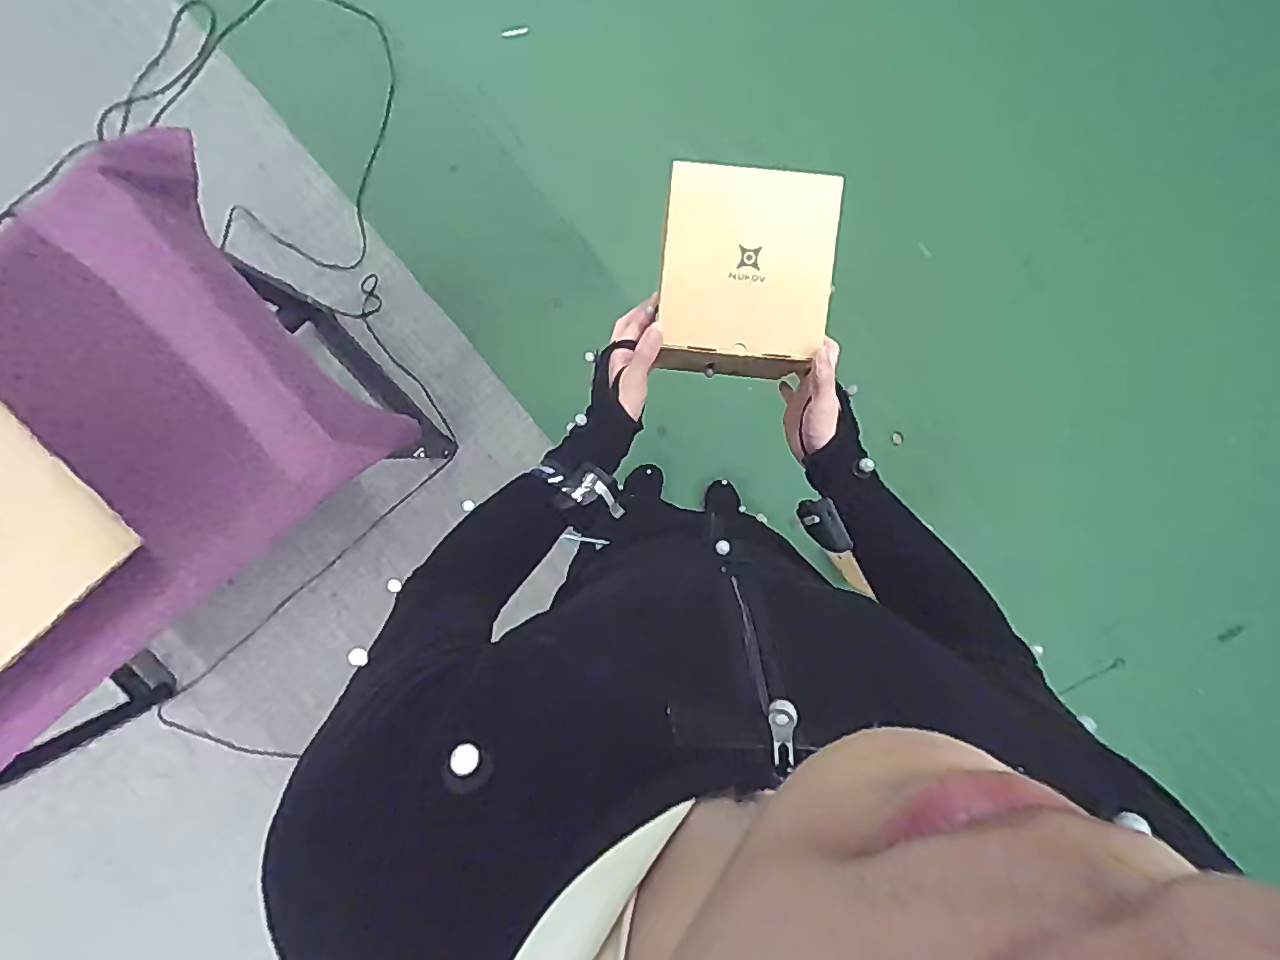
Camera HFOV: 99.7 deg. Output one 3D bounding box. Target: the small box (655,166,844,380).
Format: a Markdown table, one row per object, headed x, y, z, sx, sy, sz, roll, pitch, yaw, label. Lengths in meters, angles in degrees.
| x | y | z | sx | sy | sz | roll | pitch | yaw | label |
| --- | --- | --- | --- | --- | --- | --- | --- | --- | --- |
| 0.106 | -0.212 | 0.600 | 0.168 | 0.176 | 0.179 | 4 | 96 | -1 | small box |

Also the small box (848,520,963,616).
| x | y | z | sx | sy | sz | roll | pitch | yaw | label |
| --- | --- | --- | --- | --- | --- | --- | --- | --- | --- |
| 0.685 | 0.220 | 1.418 | 0.179 | 0.176 | 0.168 | -37 | 93 | 0 | small box |
